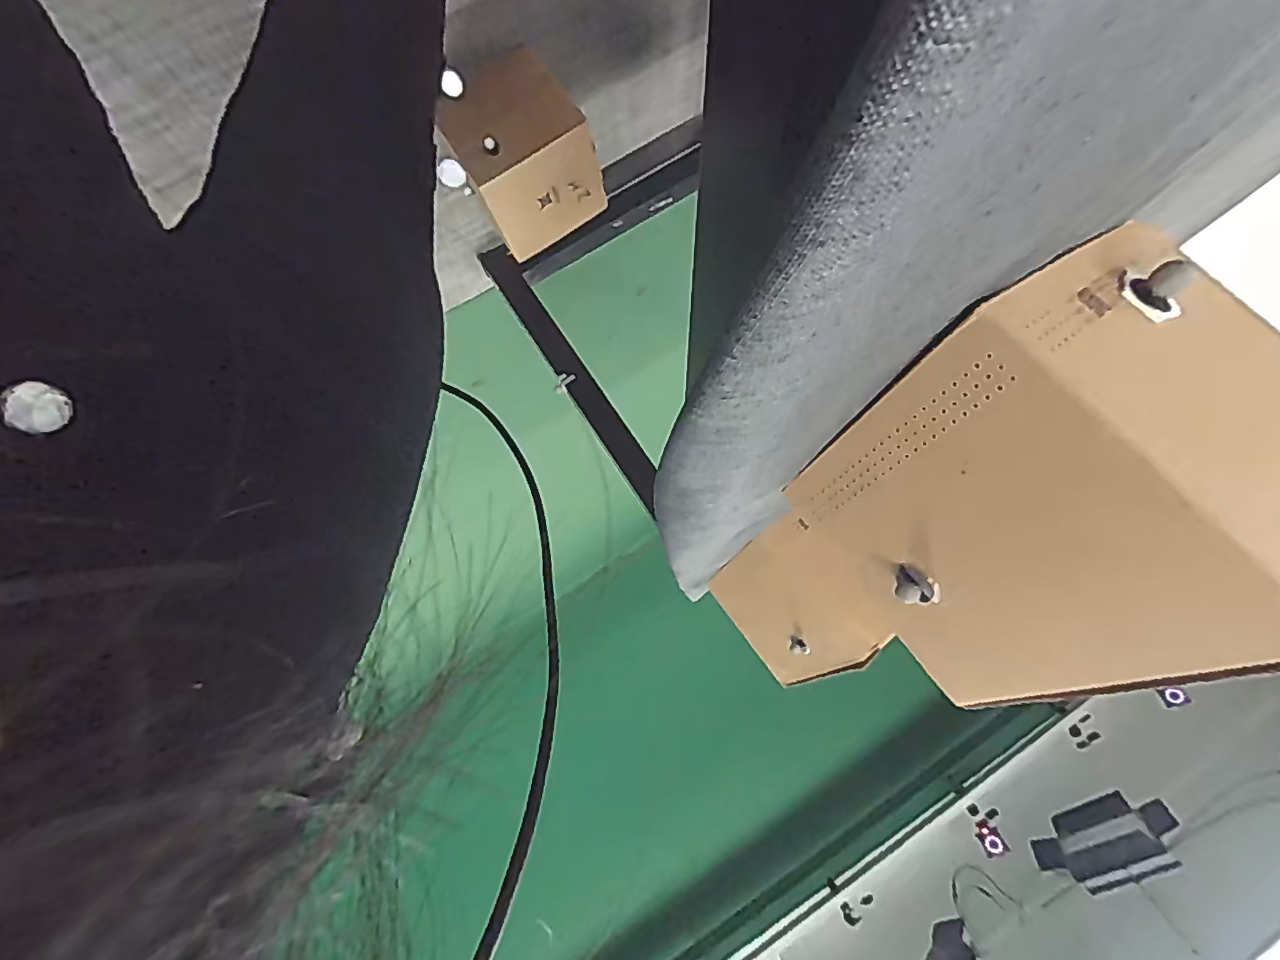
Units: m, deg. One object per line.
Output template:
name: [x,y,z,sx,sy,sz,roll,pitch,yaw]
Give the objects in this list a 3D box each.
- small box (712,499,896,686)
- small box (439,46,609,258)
small box: [0.217,0.124,0.675,0.168,0.176,0.179,-29,163,-27]
small box: [-0.173,-0.483,0.808,0.179,0.176,0.168,-33,166,-1]
